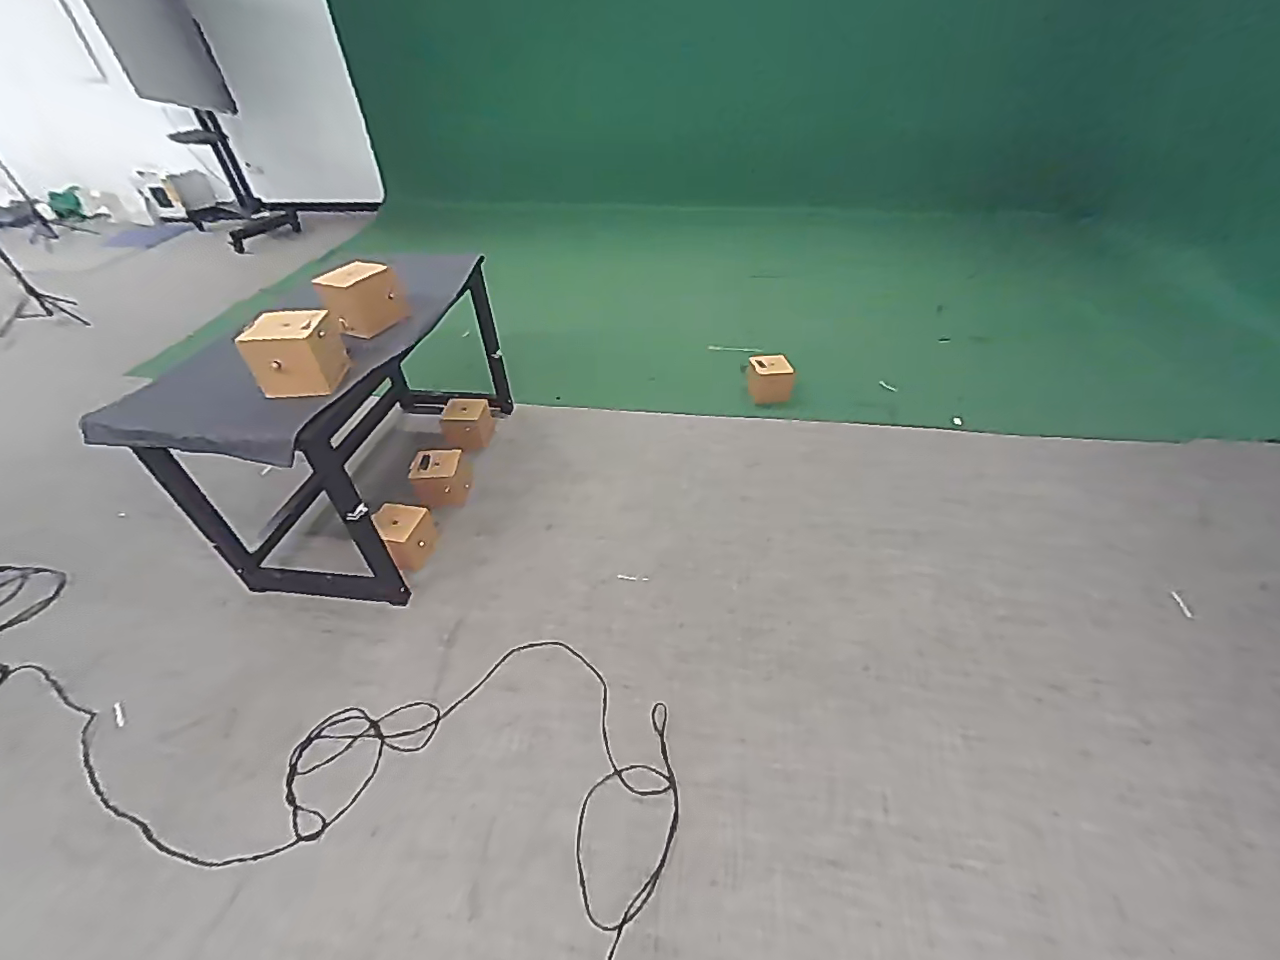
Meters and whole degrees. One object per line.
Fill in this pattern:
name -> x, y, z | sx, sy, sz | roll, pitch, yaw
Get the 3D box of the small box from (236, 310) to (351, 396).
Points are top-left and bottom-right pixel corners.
small box -> -0.912, -0.336, 1.441 | 0.179, 0.176, 0.168 | -4, 42, -3

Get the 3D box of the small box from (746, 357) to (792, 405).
small box -> 0.620, -0.478, 2.630 | 0.179, 0.176, 0.168 | -5, 42, -5

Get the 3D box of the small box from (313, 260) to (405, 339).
small box -> -0.869, -0.568, 1.697 | 0.168, 0.176, 0.179 | 16, 47, 23

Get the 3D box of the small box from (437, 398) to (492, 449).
small box -> -0.780, -0.253, 2.428 | 0.179, 0.176, 0.168 | 1, 42, 3

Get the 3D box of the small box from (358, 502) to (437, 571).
small box -> -0.857, 0.205, 1.931 | 0.179, 0.176, 0.168 | 7, 43, 10
